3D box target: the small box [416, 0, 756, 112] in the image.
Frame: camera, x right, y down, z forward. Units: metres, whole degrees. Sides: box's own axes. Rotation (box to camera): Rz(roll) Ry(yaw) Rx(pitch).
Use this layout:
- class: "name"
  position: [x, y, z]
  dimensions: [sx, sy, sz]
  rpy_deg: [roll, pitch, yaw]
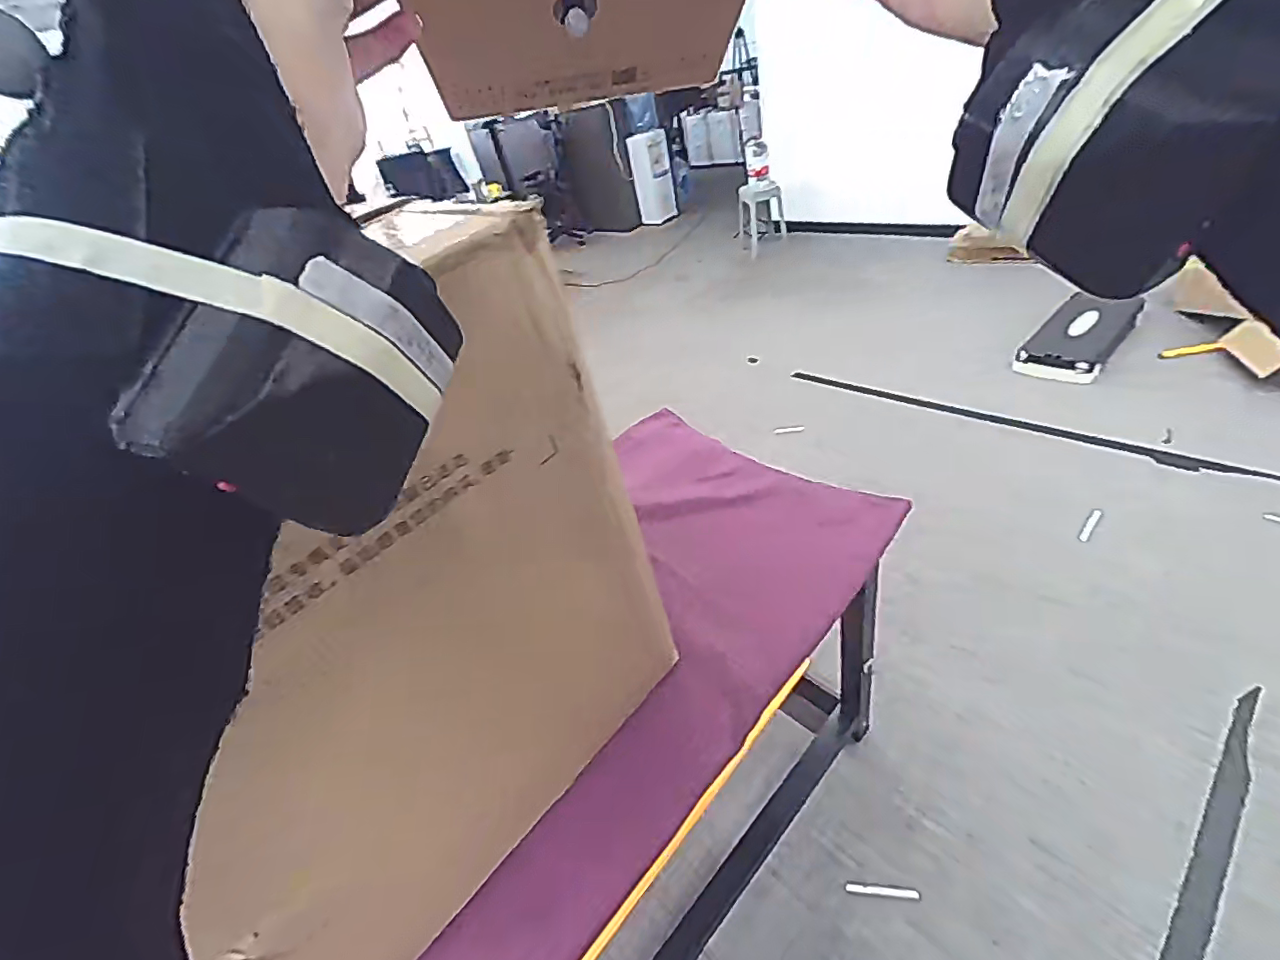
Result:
- class: "small box"
  position: [-0.031, -0.297, 0.239]
  dimensions: [0.168, 0.179, 0.176]
  rpy_deg: [-11, 7, -5]
